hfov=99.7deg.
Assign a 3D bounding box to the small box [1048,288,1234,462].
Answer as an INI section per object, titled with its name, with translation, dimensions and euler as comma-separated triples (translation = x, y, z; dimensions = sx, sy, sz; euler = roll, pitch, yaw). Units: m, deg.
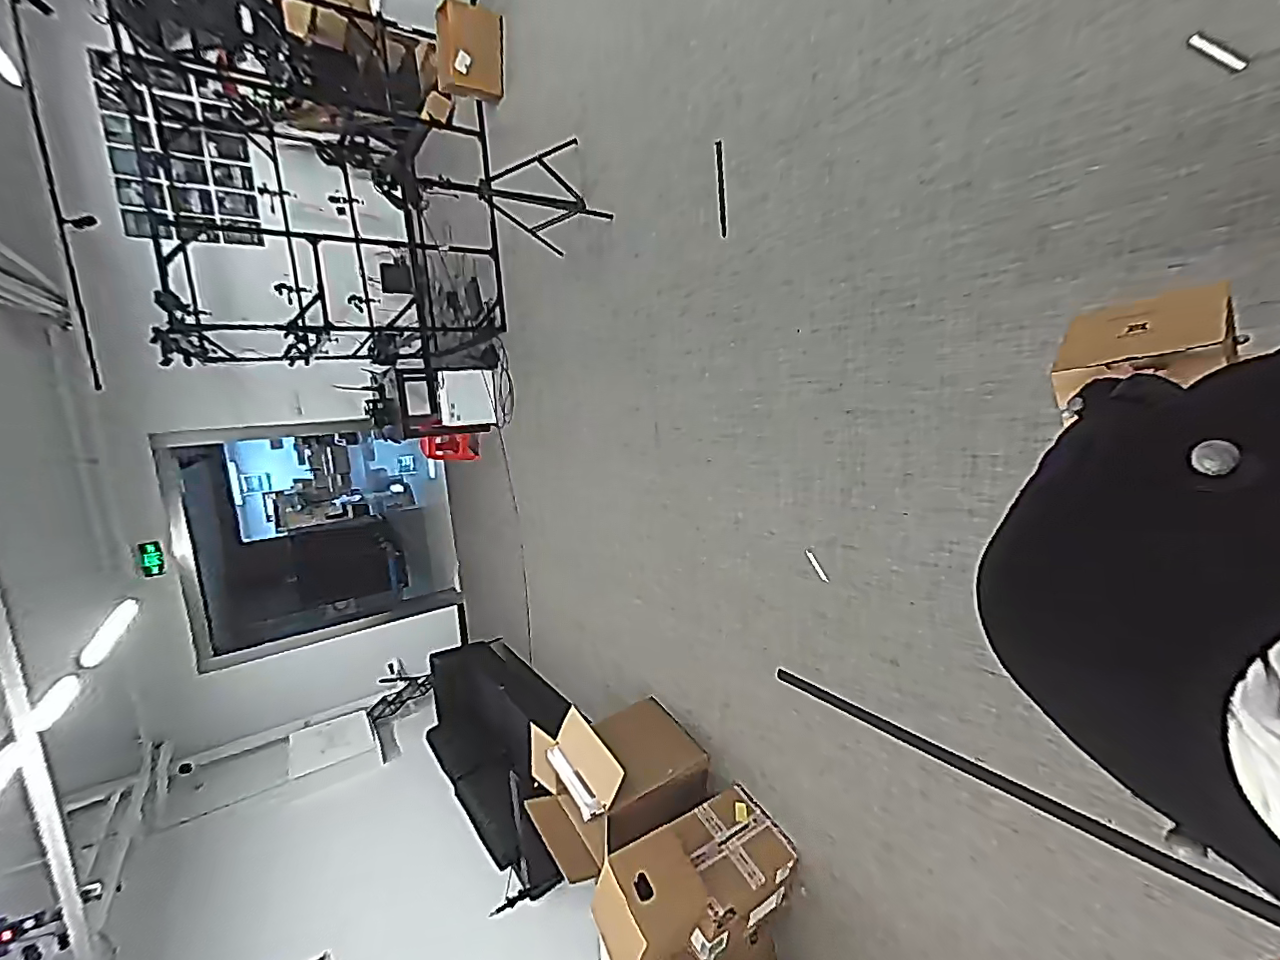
[small box]
translation = 0.706, -0.135, 0.760
dimensions = 0.168, 0.179, 0.176
euler = -4, 123, 50
